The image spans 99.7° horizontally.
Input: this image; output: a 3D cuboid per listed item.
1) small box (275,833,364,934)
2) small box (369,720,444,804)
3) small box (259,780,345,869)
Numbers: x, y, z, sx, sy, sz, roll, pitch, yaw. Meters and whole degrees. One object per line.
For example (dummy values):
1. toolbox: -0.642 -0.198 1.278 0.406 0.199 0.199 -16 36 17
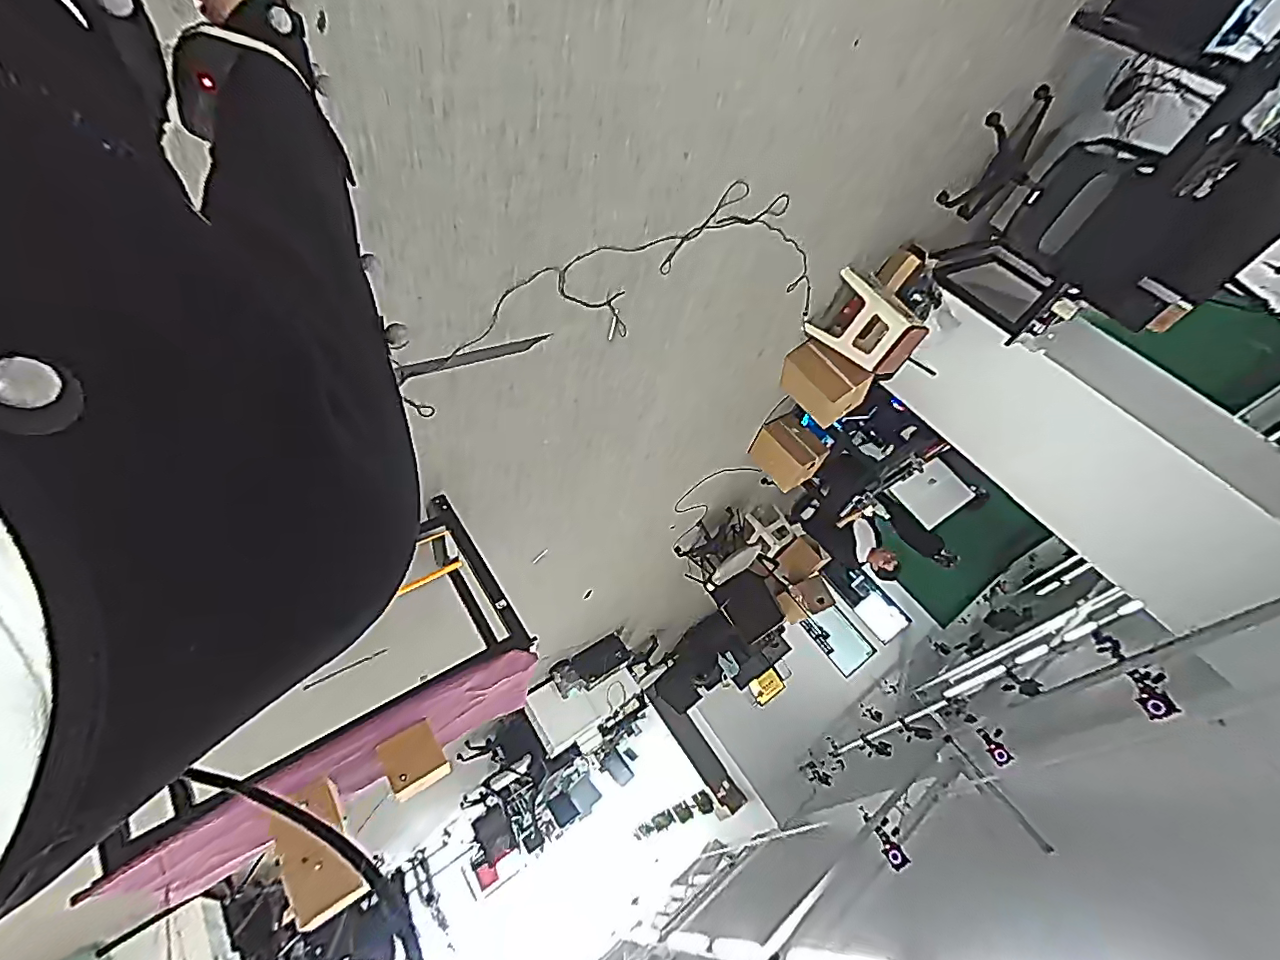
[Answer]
1. small box: -0.922 1.160 1.560 0.168 0.176 0.179 -24 152 -34
2. small box: -0.770 0.931 1.793 0.179 0.176 0.168 -23 152 -31
3. small box: -1.014 1.042 1.629 0.168 0.176 0.179 -23 151 -33
